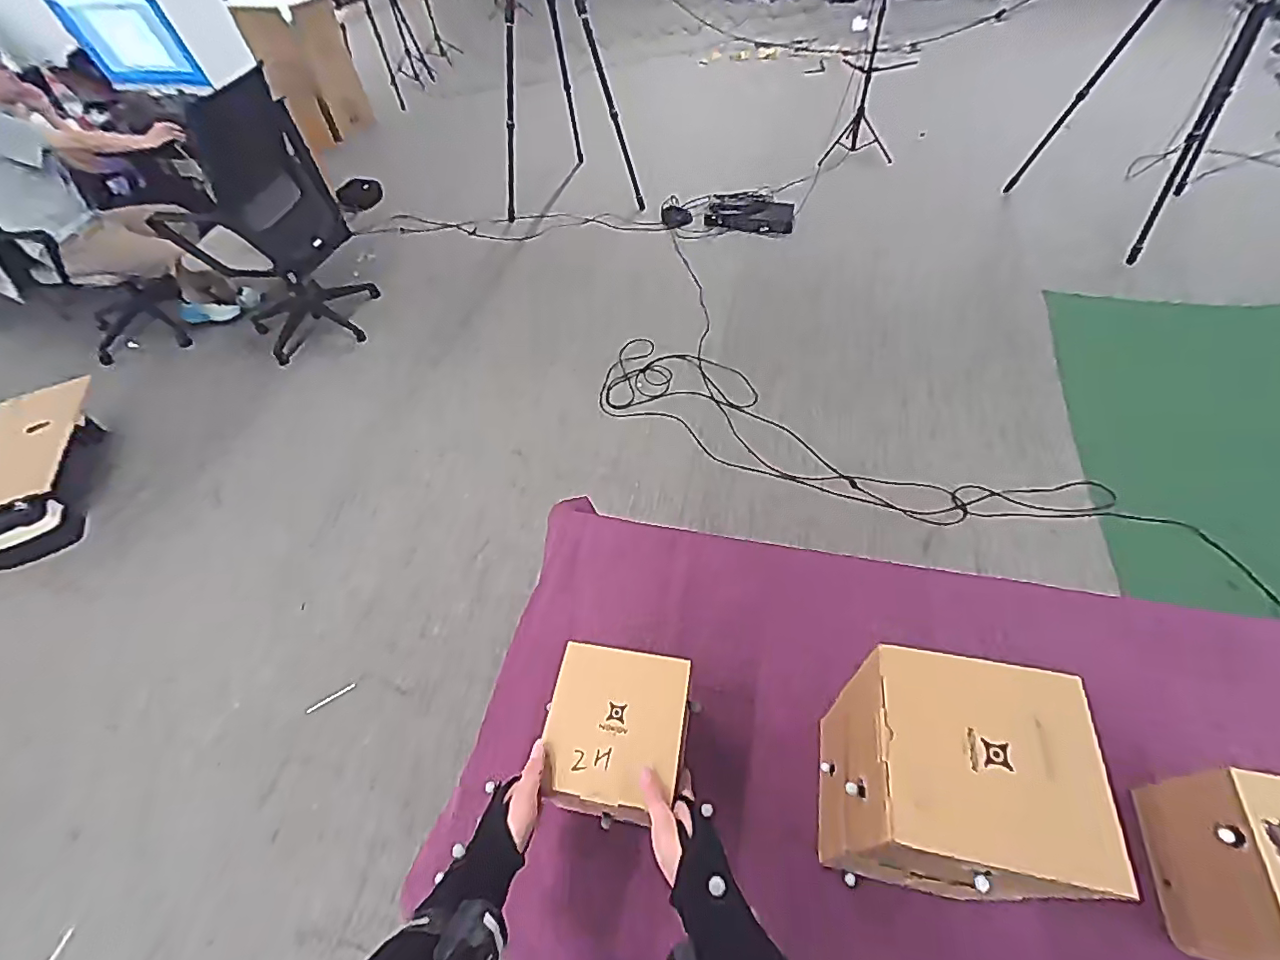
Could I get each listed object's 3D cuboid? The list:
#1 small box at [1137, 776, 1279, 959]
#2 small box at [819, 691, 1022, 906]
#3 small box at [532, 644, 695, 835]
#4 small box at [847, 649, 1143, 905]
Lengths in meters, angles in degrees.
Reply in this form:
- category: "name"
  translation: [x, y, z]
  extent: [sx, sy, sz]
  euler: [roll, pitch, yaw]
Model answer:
- category: "small box"
  translation: [0.695, 0.435, 0.570]
  extent: [0.179, 0.176, 0.168]
  euler: [8, 53, 11]
- category: "small box"
  translation: [0.316, 0.381, 0.646]
  extent: [0.168, 0.176, 0.179]
  euler: [8, 52, 10]
- category: "small box"
  translation: [-0.023, 0.340, 0.707]
  extent: [0.168, 0.176, 0.179]
  euler: [6, 53, 10]
- category: "small box"
  translation: [0.304, 0.284, 0.516]
  extent: [0.179, 0.176, 0.168]
  euler: [8, 54, 10]
